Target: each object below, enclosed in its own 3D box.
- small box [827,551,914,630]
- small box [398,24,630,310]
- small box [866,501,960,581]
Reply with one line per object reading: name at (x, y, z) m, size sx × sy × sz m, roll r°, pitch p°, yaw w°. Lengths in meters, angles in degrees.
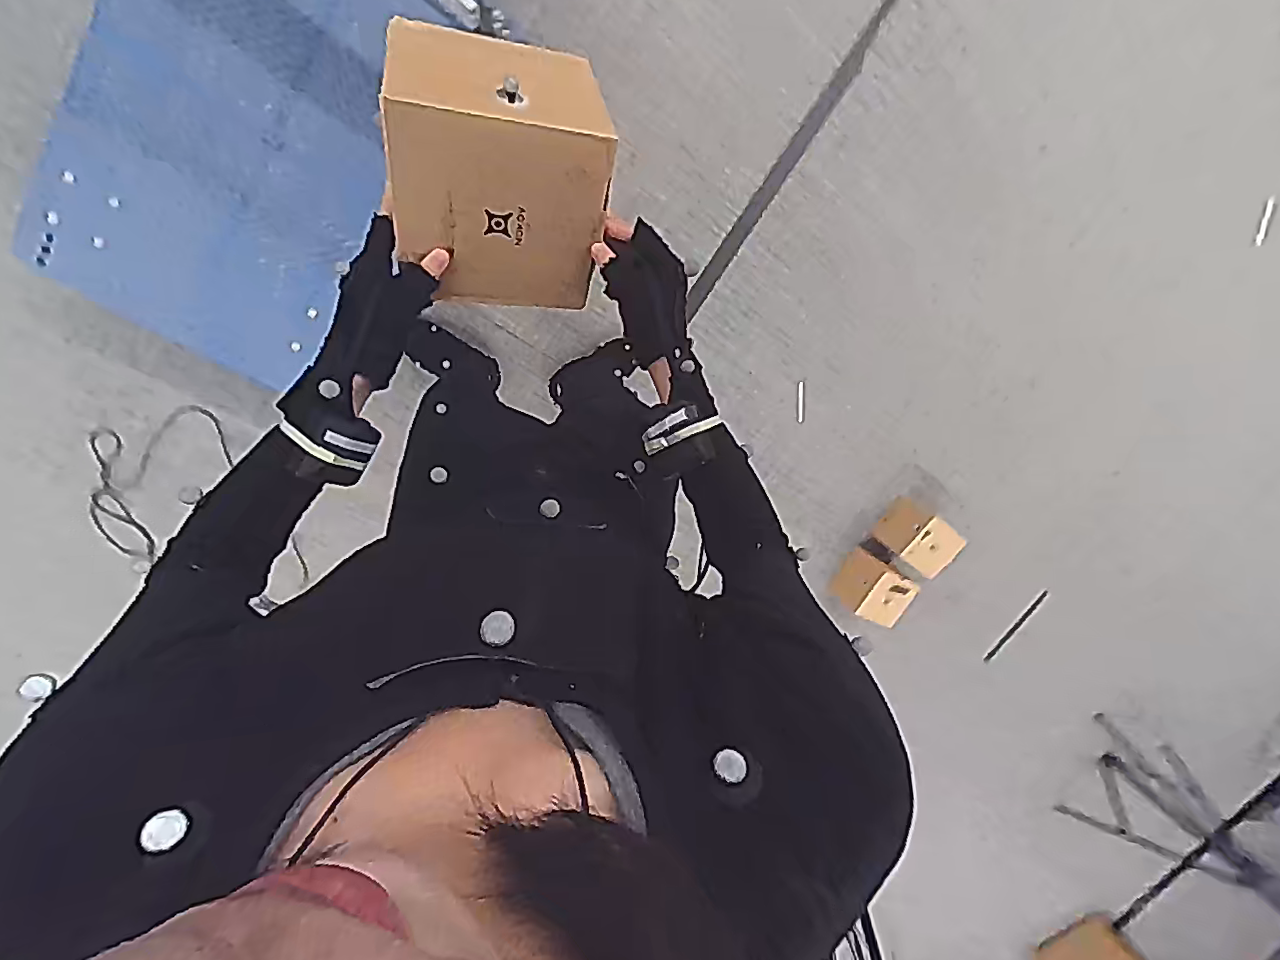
small box at (0.766, 0.365, 1.815) m, size 0.168 × 0.176 × 0.179 m, roll 25°, pitch 105°, yaw -20°
small box at (-0.125, -0.286, 0.509) m, size 0.179 × 0.176 × 0.168 m, roll 0°, pitch 144°, yaw -19°
small box at (0.891, 0.194, 1.777) m, size 0.179 × 0.176 × 0.168 m, roll 34°, pitch 100°, yaw -22°
